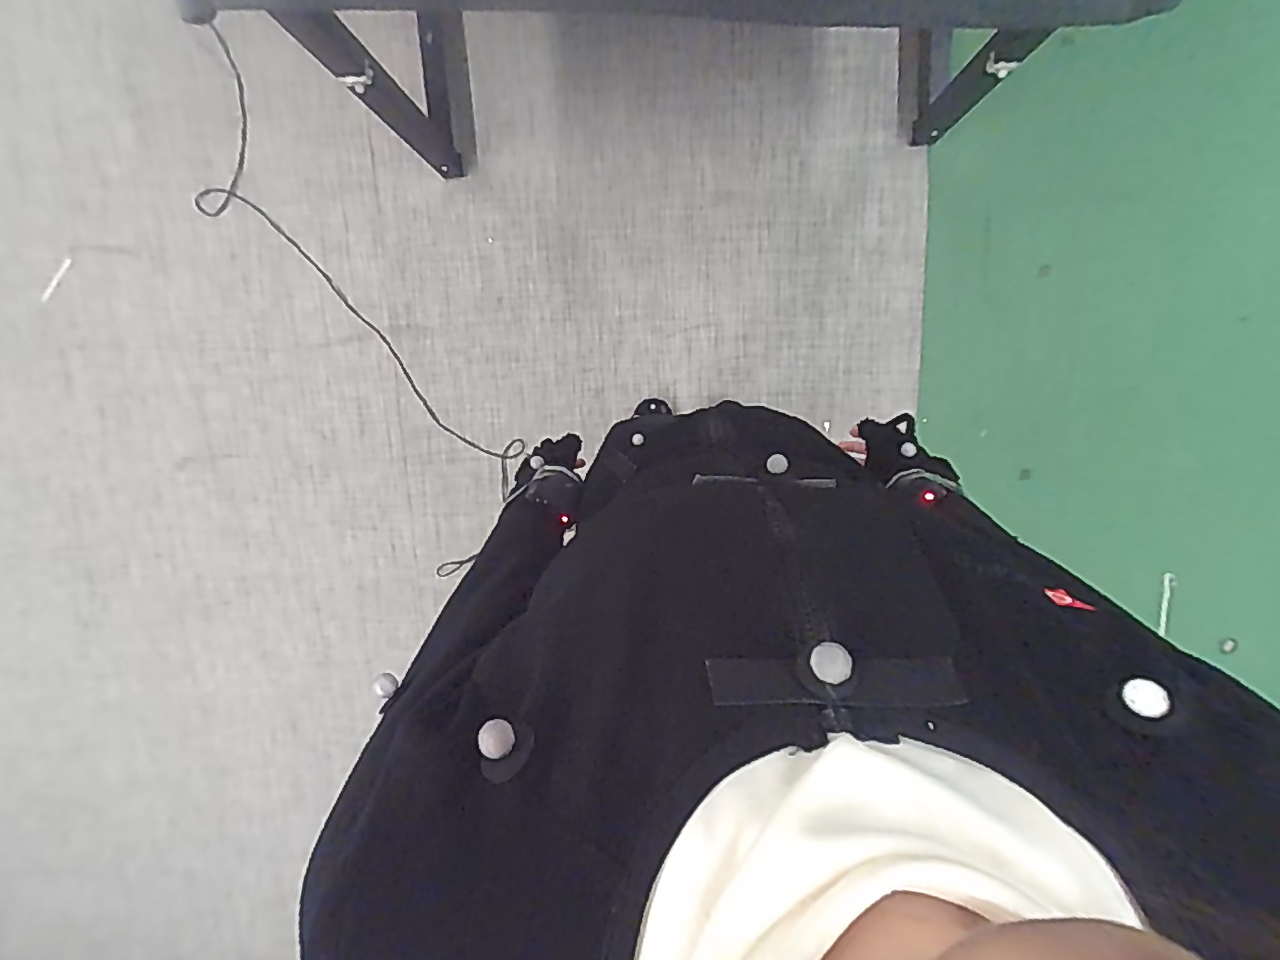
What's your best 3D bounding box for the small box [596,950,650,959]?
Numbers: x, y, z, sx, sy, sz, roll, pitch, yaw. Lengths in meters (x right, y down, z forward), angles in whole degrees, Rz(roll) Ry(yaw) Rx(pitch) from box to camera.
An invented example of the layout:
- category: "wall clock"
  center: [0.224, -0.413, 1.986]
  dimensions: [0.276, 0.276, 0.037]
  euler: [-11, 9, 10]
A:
- category: "small box"
  center: [-0.056, 1.567, 1.629]
  dimensions: [0.179, 0.176, 0.168]
  euler: [-4, 102, 2]
